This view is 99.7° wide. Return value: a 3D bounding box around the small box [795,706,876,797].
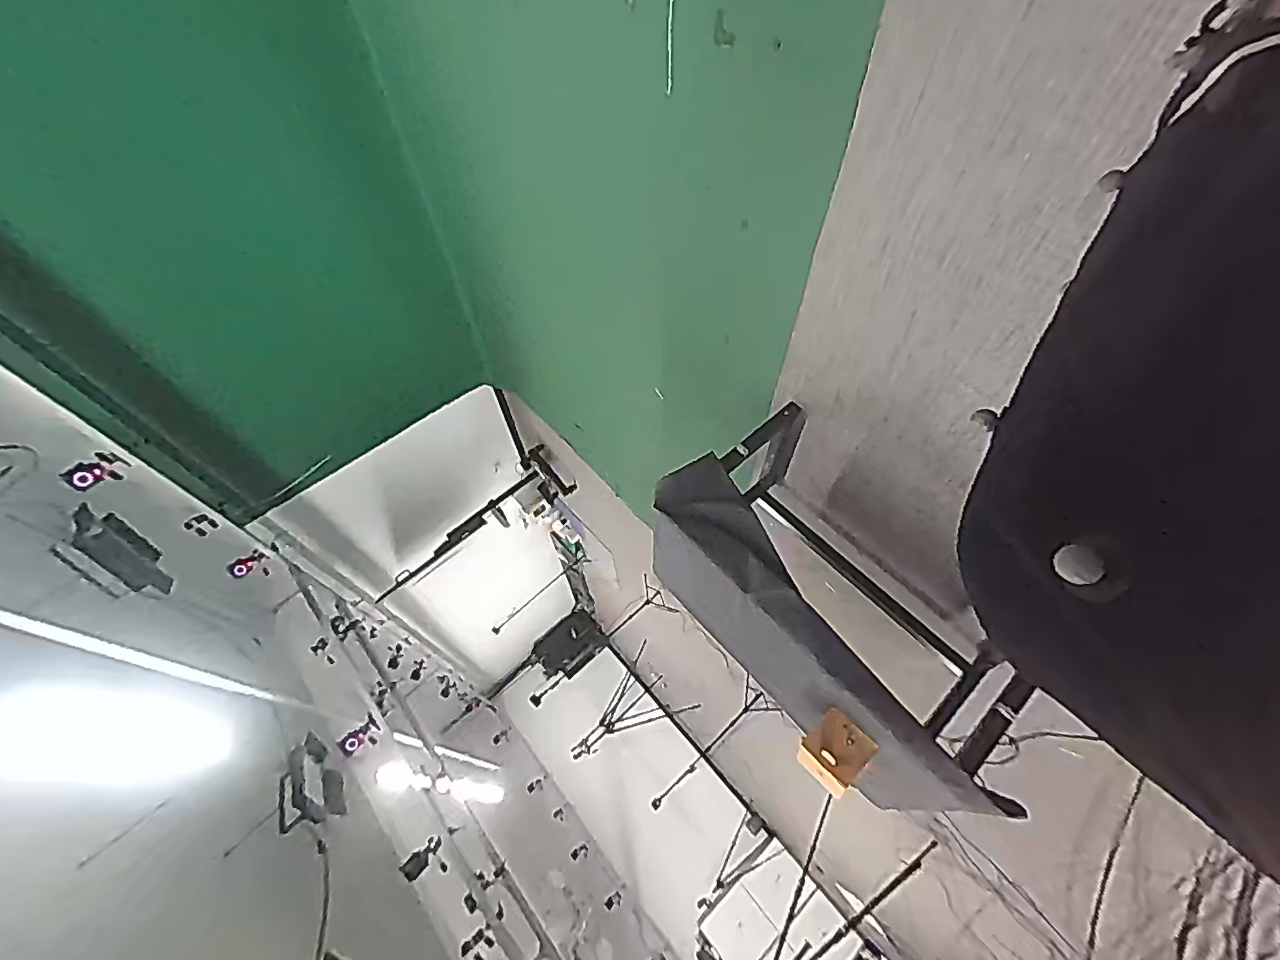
[{"bbox_3d":[0.609,0.843,1.686,0.168,0.176,0.179,39,156,35],"label":"small box"}]
